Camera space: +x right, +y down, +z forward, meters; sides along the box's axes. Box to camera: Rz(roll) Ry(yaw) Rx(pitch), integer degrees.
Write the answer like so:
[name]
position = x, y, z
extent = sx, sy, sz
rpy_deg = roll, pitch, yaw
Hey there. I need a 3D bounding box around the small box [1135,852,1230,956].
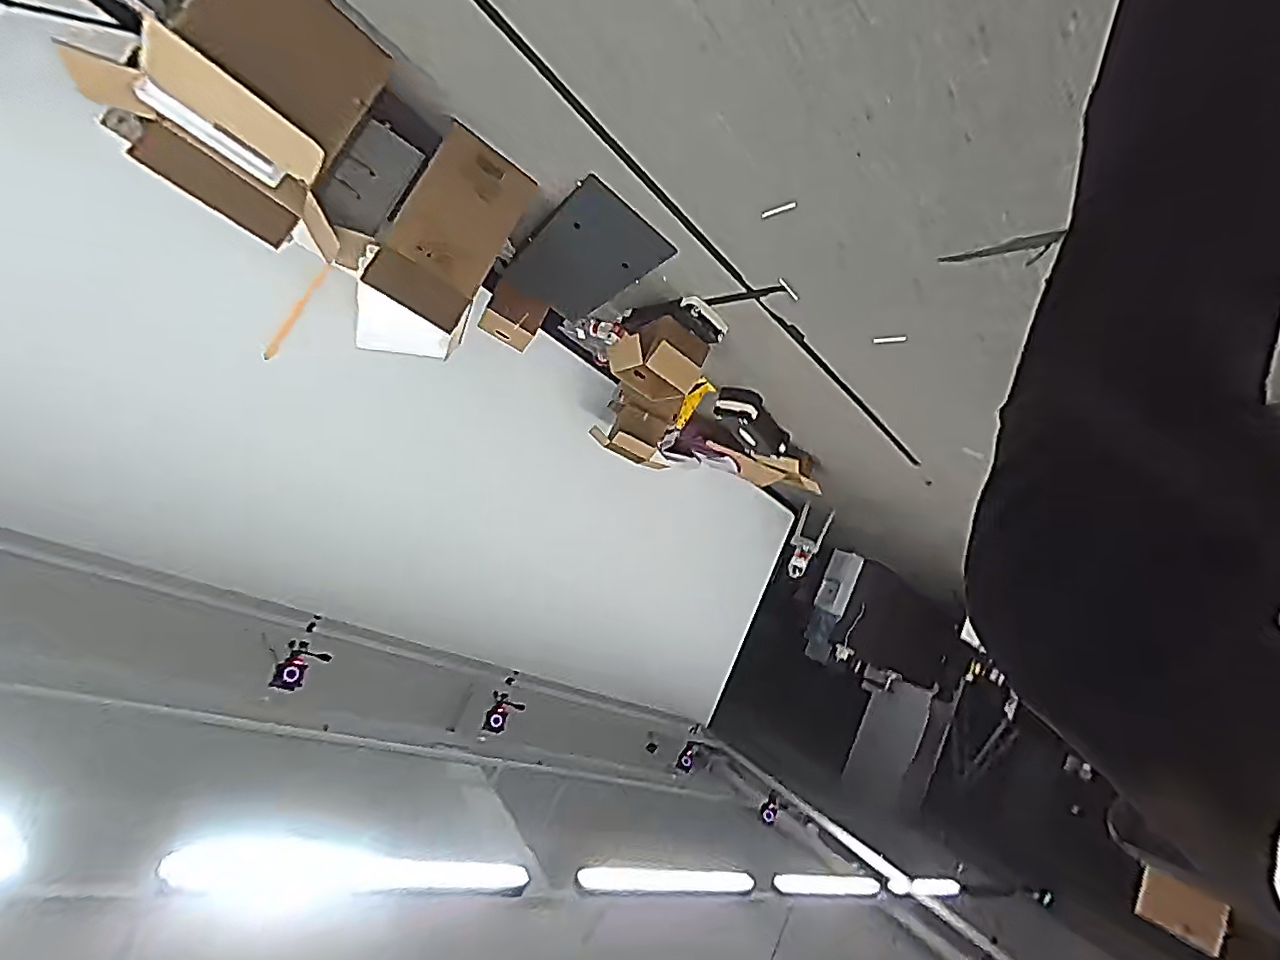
[small box]
position = 1.558, 1.202, 1.550
extent = 0.179, 0.176, 0.168
rpy_deg = 31, 169, -39
